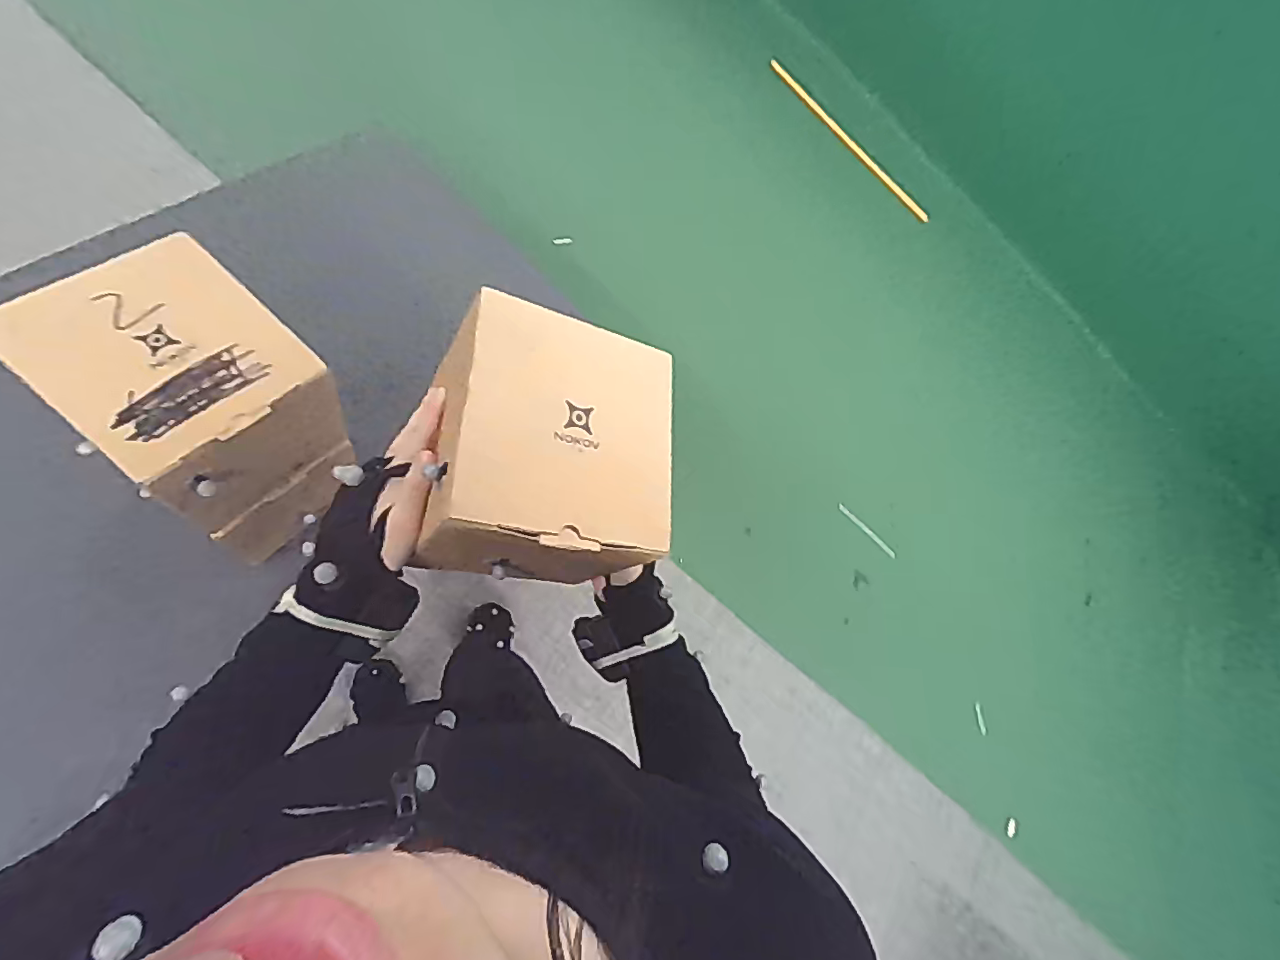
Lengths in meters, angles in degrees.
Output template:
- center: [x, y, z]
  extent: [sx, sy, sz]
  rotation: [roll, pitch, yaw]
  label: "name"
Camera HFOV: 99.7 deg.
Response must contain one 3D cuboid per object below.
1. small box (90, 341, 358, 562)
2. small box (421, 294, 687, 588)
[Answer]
- center: [-0.472, -0.023, 0.650]
  extent: [0.179, 0.176, 0.168]
  rotation: [43, 61, -4]
  label: "small box"
- center: [-0.075, -0.014, 0.457]
  extent: [0.168, 0.176, 0.179]
  rotation: [13, 67, -29]
  label: "small box"
